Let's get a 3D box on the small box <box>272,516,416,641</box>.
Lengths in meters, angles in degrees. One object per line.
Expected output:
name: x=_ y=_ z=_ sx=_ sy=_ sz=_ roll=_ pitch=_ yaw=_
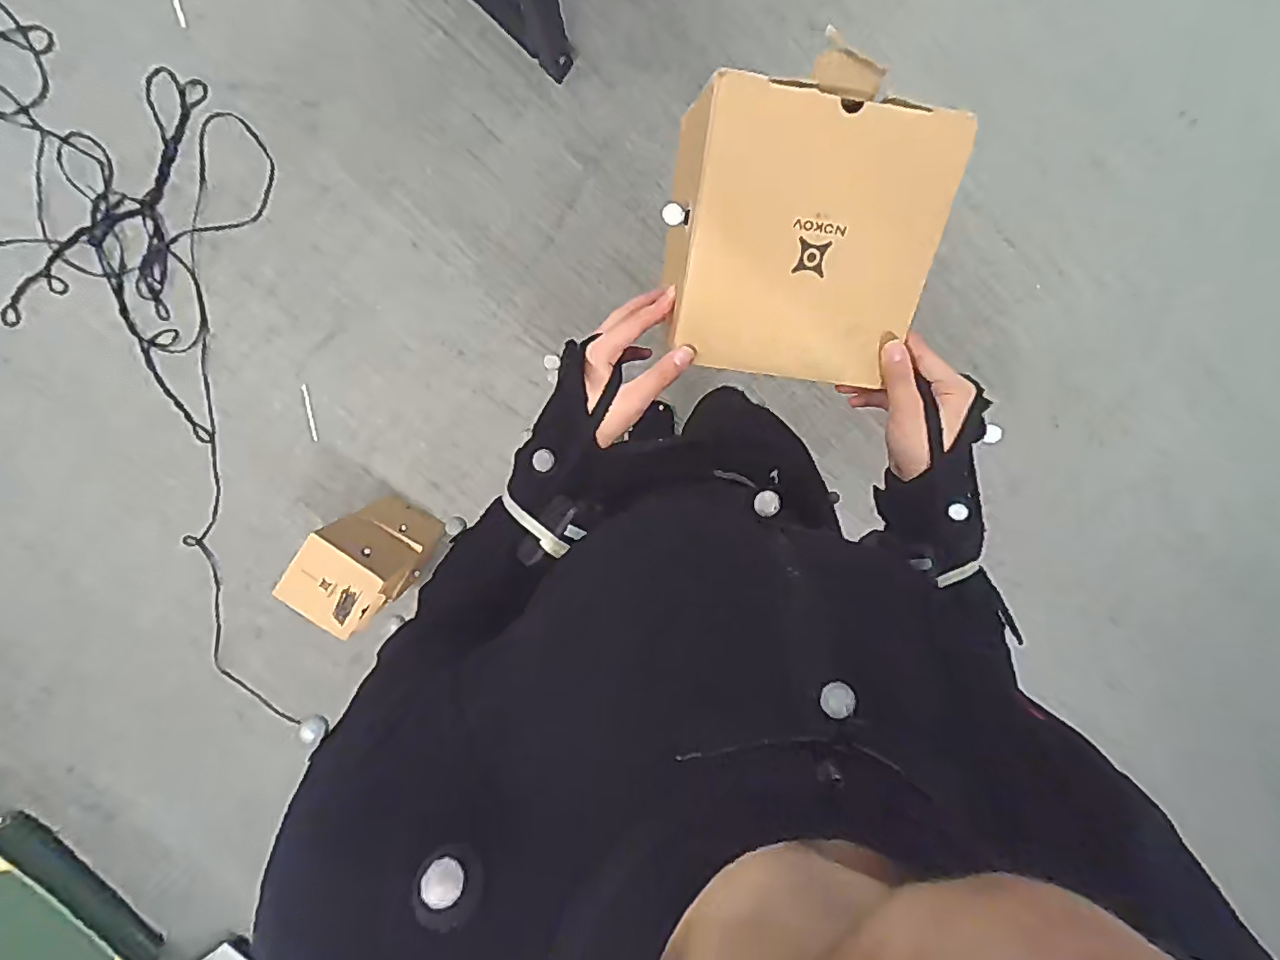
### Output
small box: x=-0.616 y=0.200 z=1.152 sx=0.179 sy=0.176 sz=0.168 roll=37 pitch=99 yaw=-6

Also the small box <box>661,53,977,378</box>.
small box: x=0.110 y=-0.195 z=0.425 sx=0.168 sy=0.176 sz=0.179 roll=6 pitch=115 yaw=-5

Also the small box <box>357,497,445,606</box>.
small box: x=-0.604 y=0.167 z=1.314 sx=0.168 sy=0.176 sz=0.179 roll=31 pitch=100 yaw=-6
